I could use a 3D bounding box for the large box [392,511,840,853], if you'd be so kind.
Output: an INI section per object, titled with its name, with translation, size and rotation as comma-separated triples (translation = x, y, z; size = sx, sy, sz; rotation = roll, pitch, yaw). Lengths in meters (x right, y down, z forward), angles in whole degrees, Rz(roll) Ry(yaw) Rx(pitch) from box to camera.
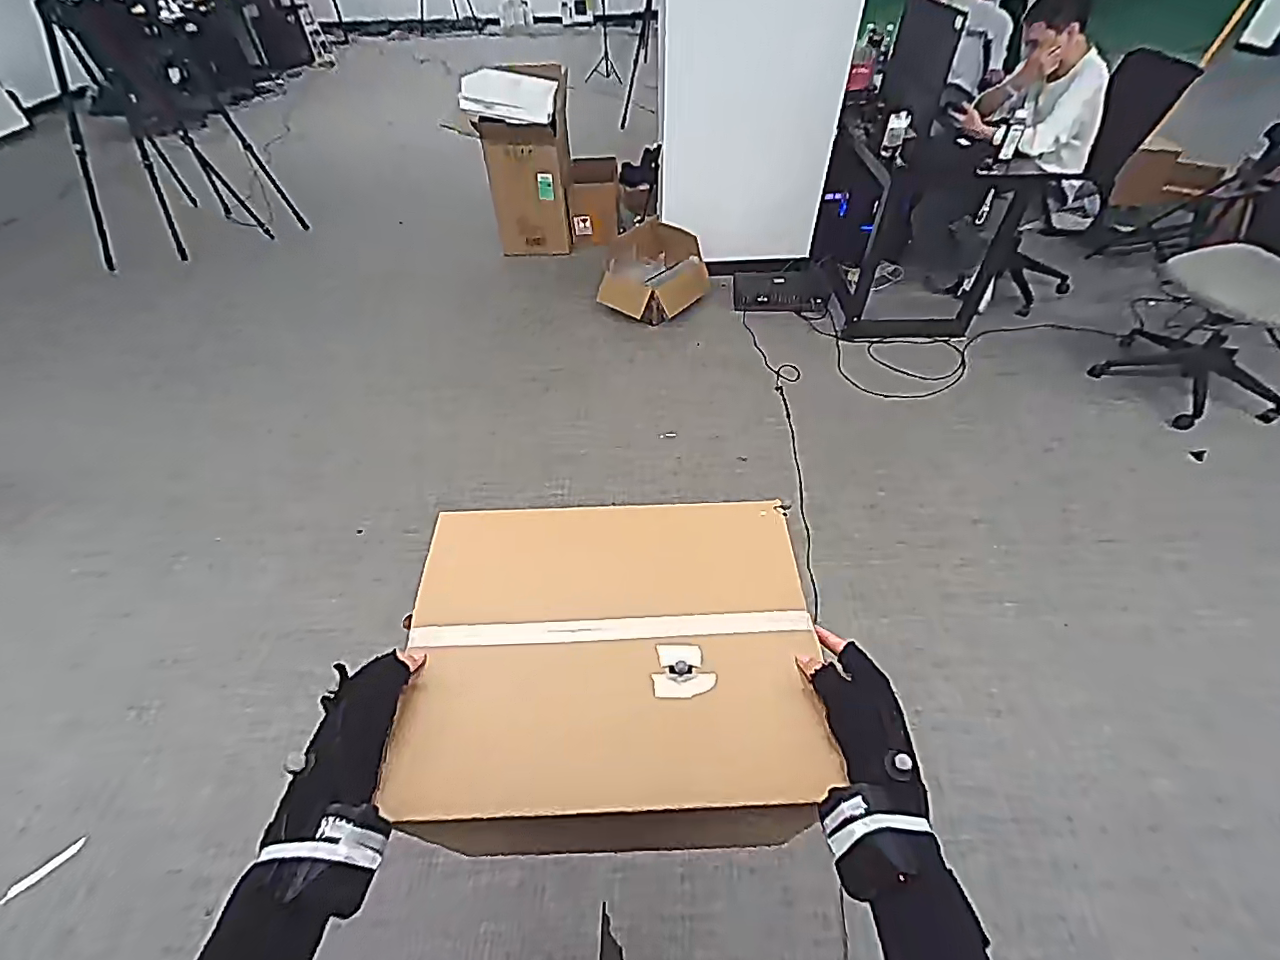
[large box]
translation = -0.027, 0.257, 0.678
size = 0.408, 0.320, 0.320
rotation = -1, 51, -1
